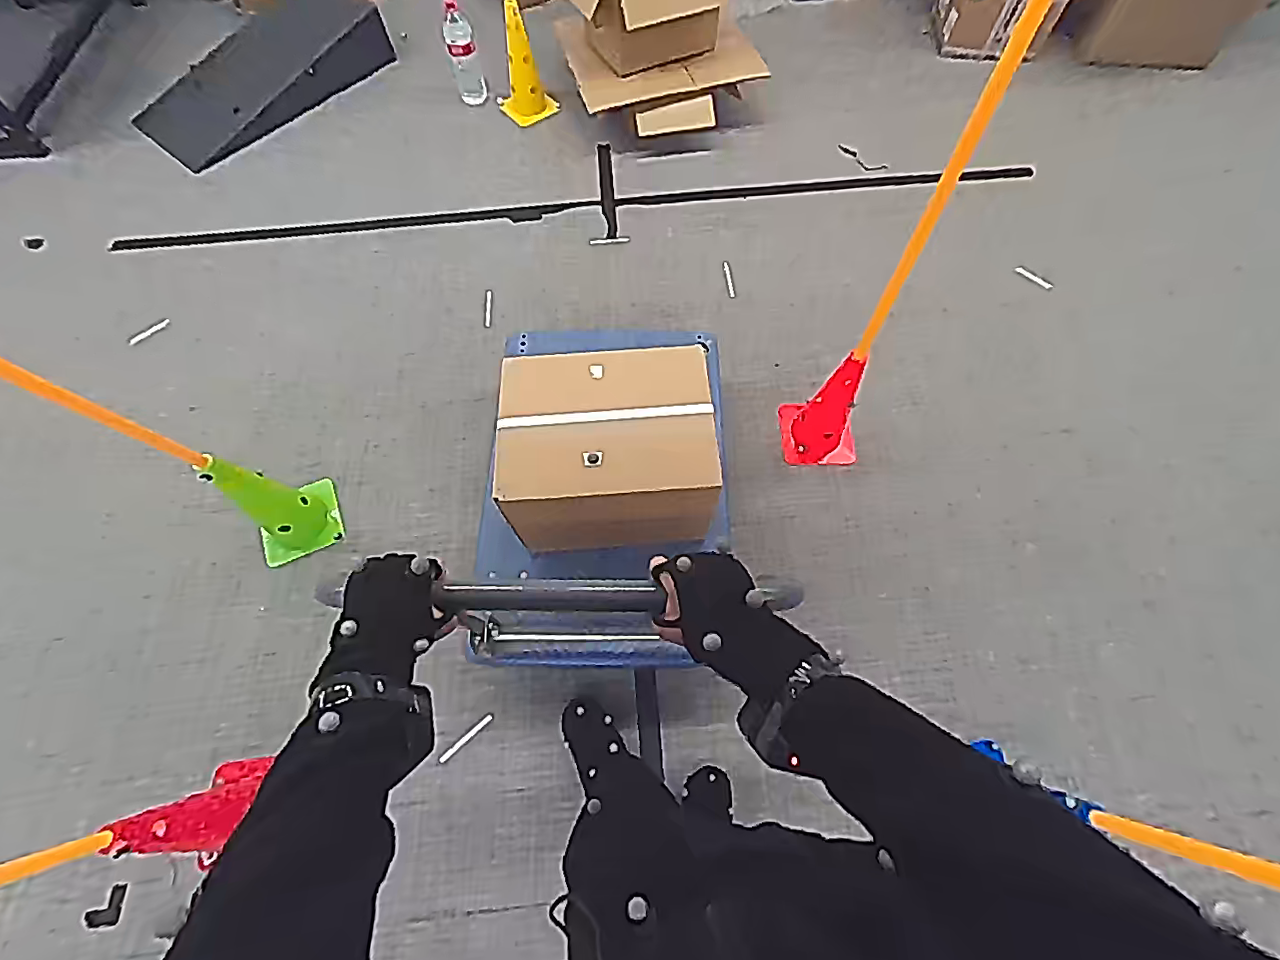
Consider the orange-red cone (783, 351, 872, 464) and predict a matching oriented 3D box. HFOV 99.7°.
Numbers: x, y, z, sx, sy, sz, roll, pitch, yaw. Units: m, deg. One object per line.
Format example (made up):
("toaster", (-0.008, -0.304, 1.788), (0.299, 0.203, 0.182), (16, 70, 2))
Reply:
("orange-red cone", (0.510, -0.206, 1.381), (0.199, 0.360, 0.198), (1, 66, 0))
